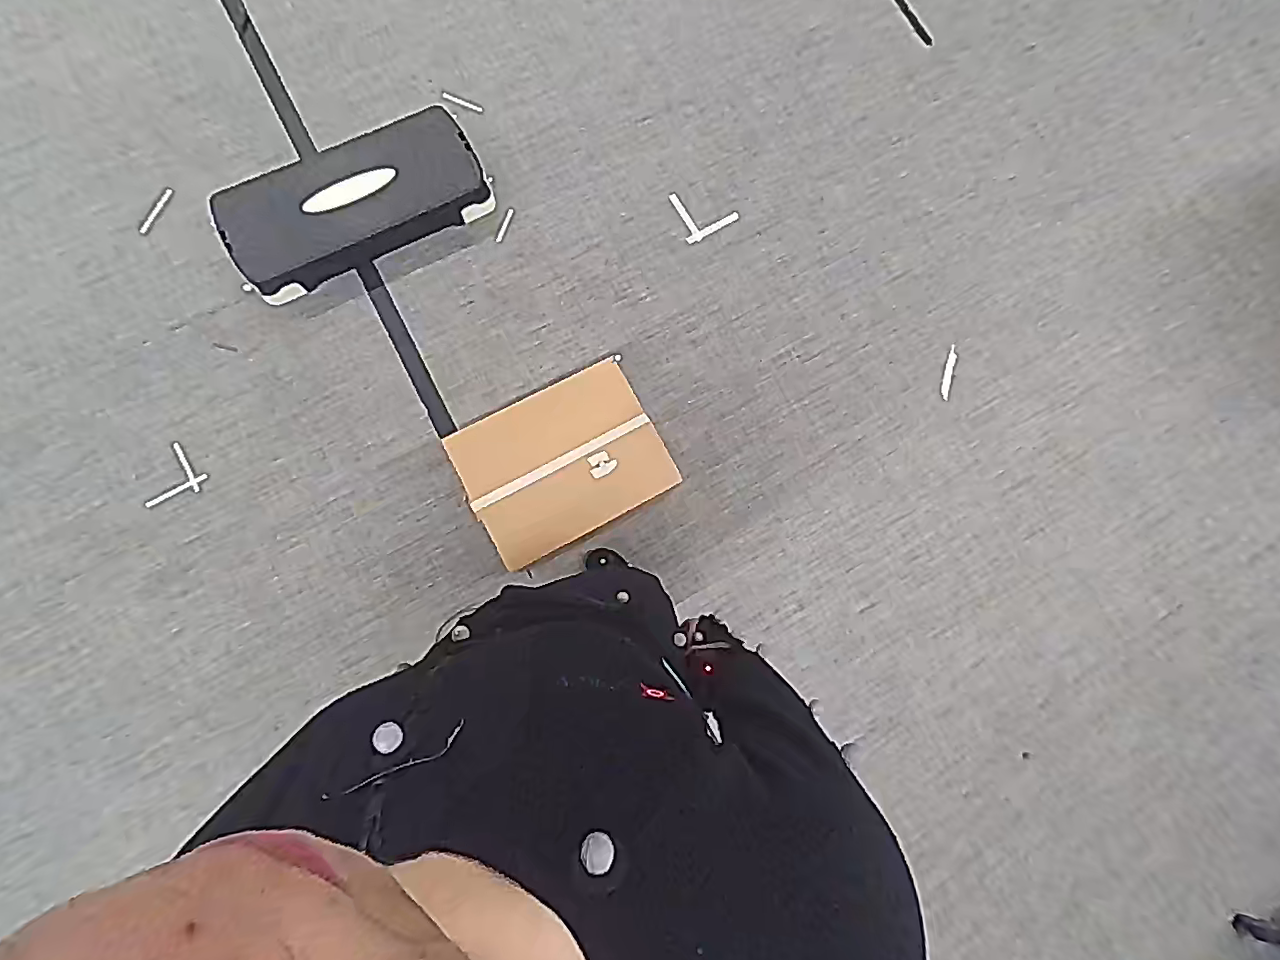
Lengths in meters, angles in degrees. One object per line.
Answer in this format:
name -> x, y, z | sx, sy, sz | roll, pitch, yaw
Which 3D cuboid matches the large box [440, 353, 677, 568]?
large box -> -0.179, -0.024, 1.256 | 0.408, 0.320, 0.320 | -28, 85, -9
